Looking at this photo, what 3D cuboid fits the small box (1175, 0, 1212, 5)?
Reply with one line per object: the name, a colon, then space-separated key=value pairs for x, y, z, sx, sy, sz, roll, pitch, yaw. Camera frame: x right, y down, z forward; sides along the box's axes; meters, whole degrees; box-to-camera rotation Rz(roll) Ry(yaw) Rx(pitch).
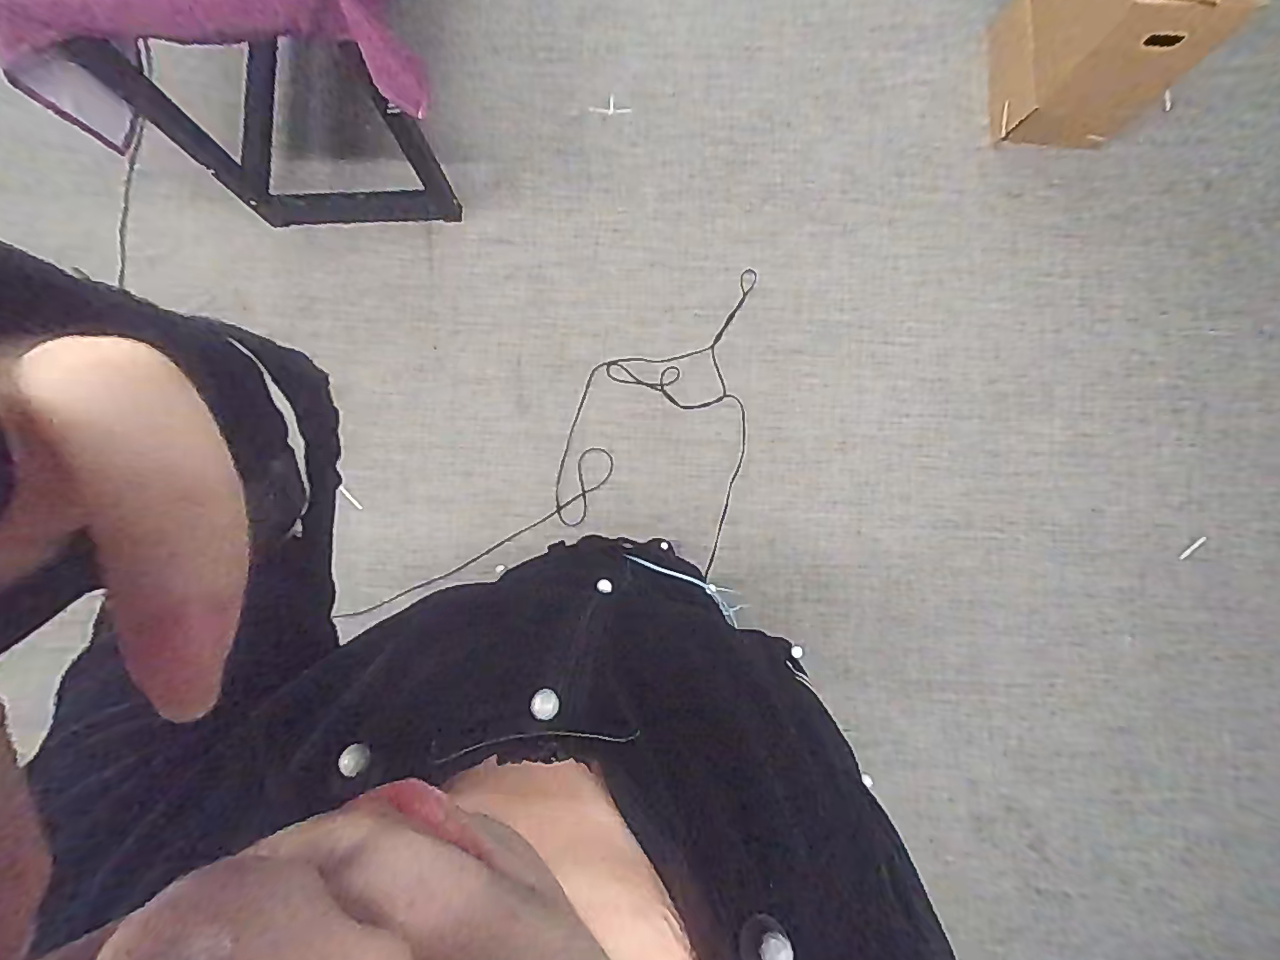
small box: x=1.225 y=-1.167 z=1.150 sx=0.179 sy=0.176 sz=0.168 roll=8 pitch=82 yaw=1
